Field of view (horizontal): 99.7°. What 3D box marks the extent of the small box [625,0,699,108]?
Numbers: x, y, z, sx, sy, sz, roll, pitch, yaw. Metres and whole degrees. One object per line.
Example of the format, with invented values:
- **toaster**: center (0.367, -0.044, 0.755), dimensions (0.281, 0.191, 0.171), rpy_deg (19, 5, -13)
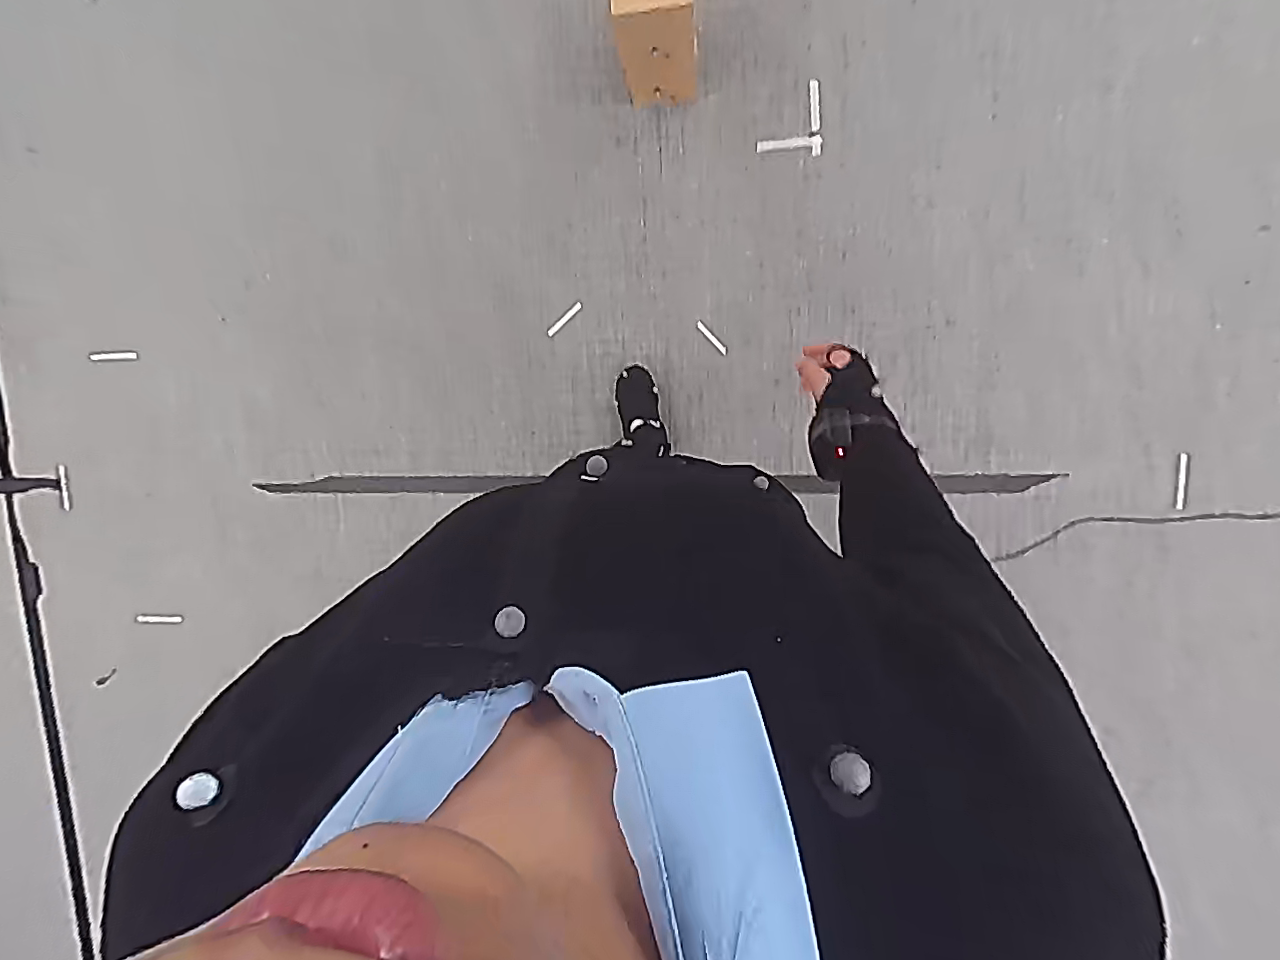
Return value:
- **small box**: center (0.054, -1.031, 1.286), dimensions (0.168, 0.176, 0.179), rpy_deg (-3, 96, 6)
